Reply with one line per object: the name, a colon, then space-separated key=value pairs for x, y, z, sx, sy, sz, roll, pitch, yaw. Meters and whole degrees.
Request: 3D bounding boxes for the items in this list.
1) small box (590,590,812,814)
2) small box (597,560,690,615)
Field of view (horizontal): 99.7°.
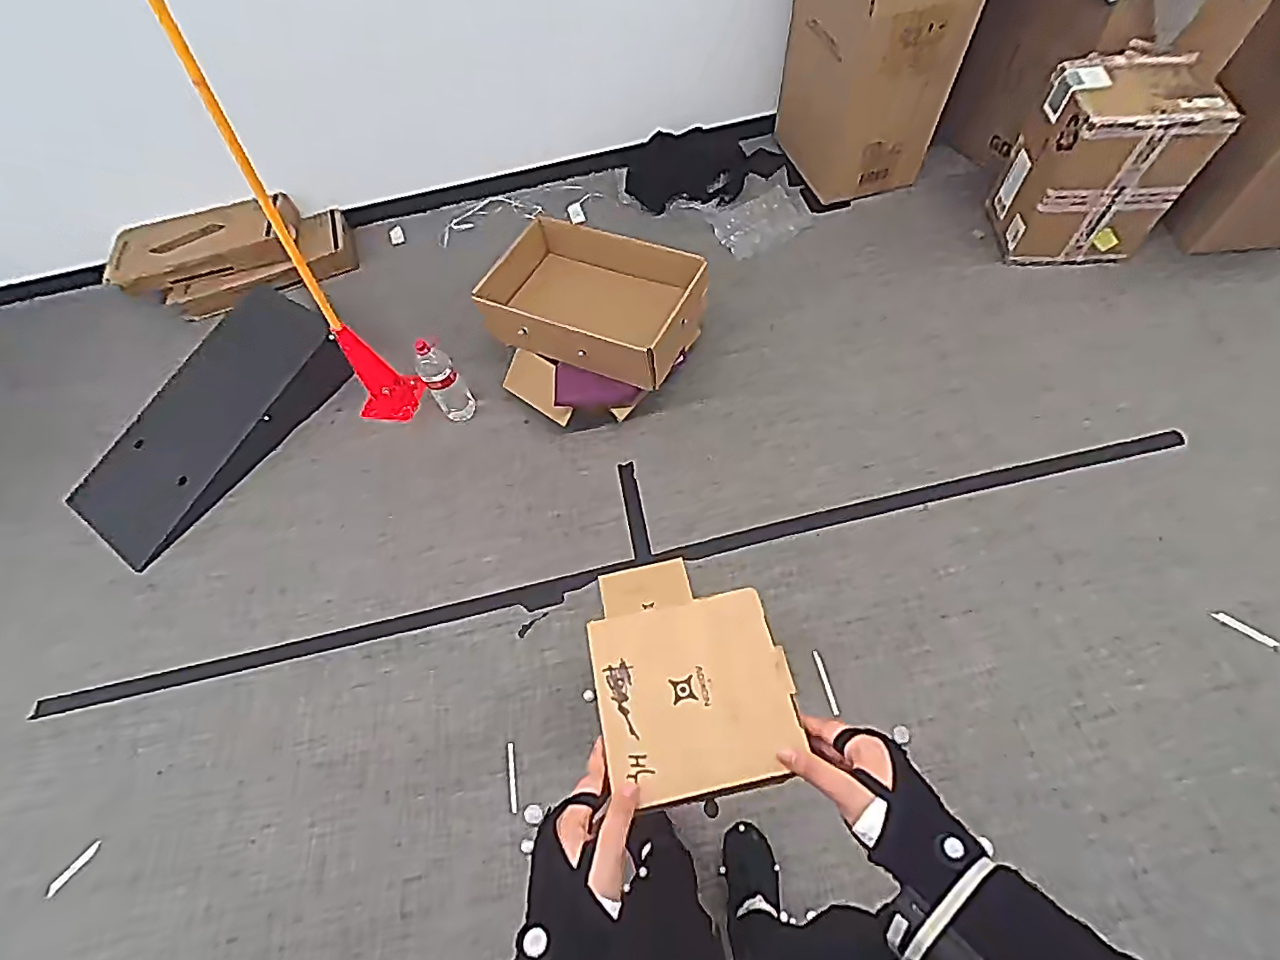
small box: x=0.050 y=0.234 z=0.561 sx=0.179 sy=0.176 sz=0.168 roll=-10 pitch=56 yaw=-5
small box: x=0.020 y=0.278 z=1.047 sx=0.168 sy=0.176 sz=0.179 roll=-12 pitch=60 yaw=-2
